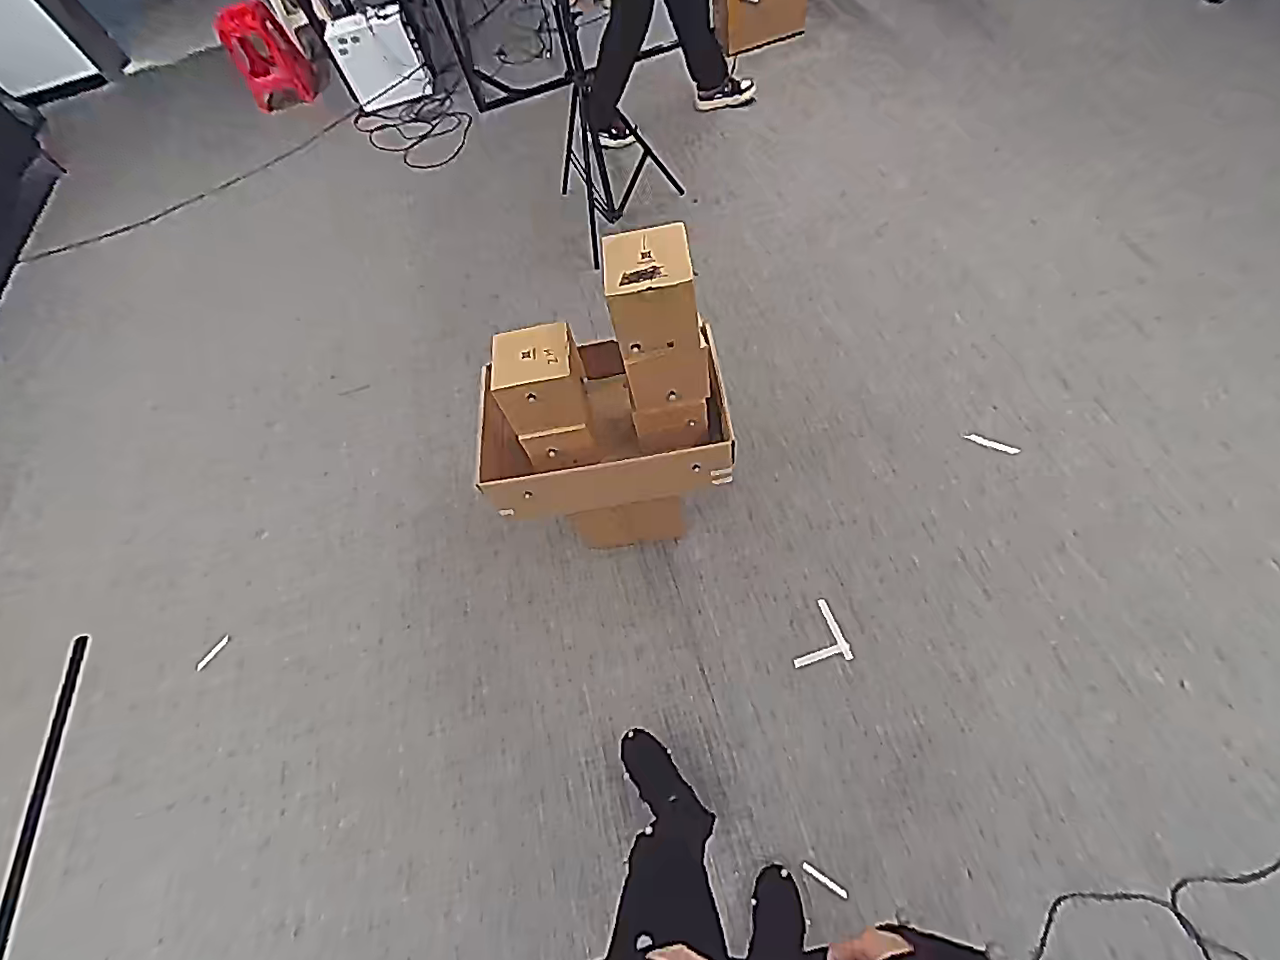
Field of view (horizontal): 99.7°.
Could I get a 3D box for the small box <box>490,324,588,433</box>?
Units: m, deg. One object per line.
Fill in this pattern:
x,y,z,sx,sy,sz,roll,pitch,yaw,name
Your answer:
-0.226,-0.226,1.236,0.179,0.176,0.168,-9,59,4,small box

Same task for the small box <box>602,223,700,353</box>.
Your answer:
0.025,-0.371,1.076,0.168,0.176,0.179,-8,59,6,small box

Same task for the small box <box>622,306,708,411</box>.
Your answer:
0.054,-0.277,1.210,0.179,0.176,0.168,-11,59,3,small box

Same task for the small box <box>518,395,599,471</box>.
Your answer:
-0.203,-0.137,1.373,0.168,0.176,0.179,-10,59,3,small box
